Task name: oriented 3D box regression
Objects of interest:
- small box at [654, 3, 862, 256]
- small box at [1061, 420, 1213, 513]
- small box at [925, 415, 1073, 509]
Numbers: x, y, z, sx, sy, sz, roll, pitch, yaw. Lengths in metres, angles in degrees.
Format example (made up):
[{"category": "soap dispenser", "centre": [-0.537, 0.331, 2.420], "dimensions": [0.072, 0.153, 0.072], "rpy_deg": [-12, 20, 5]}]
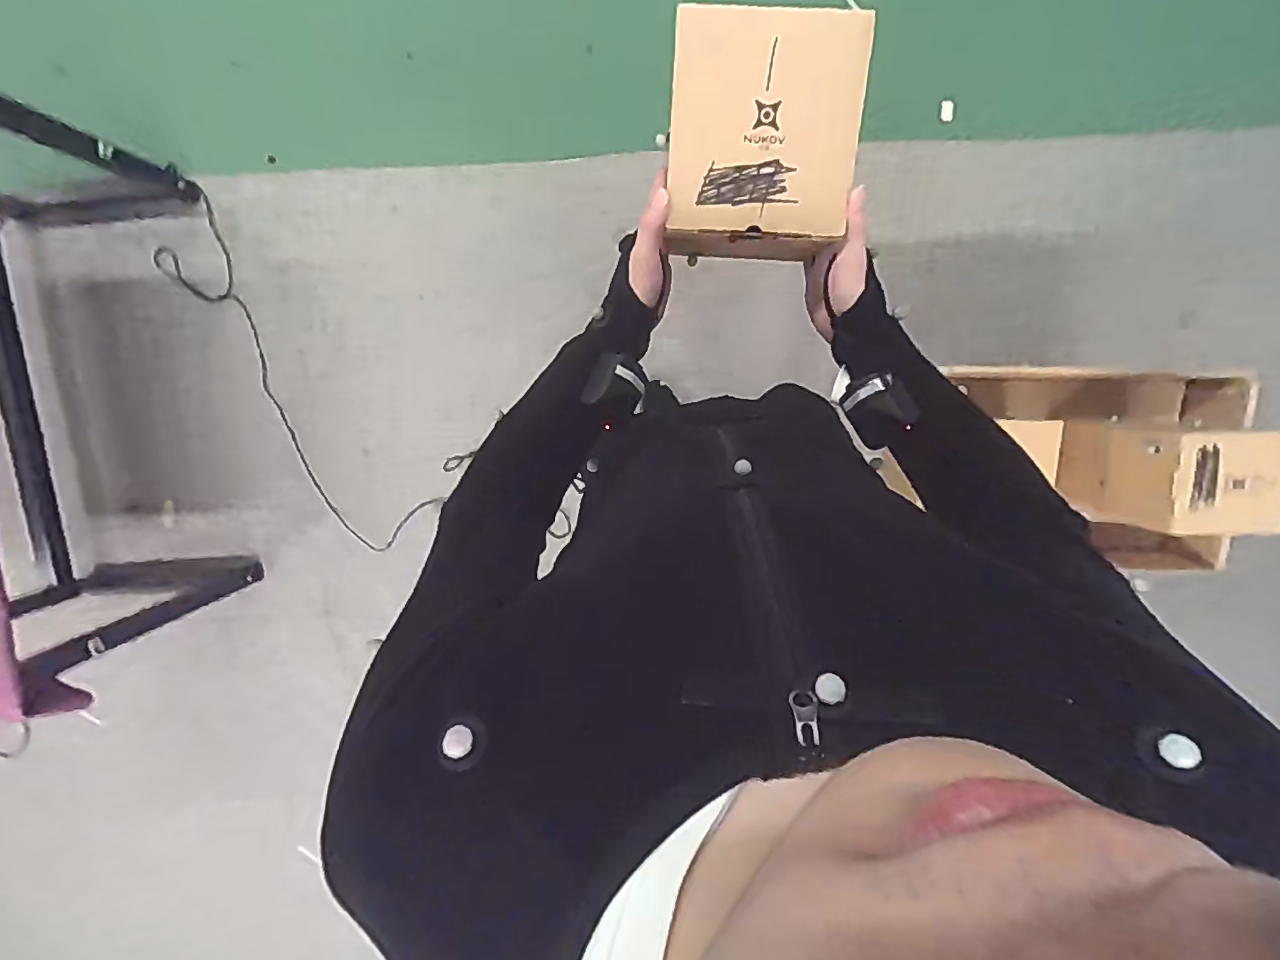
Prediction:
[{"category": "small box", "centre": [0.103, -0.328, 0.543], "dimensions": [0.168, 0.176, 0.179], "rpy_deg": [3, 105, 3]}, {"category": "small box", "centre": [0.962, -0.034, 1.080], "dimensions": [0.179, 0.176, 0.168], "rpy_deg": [1, 99, 4]}, {"category": "small box", "centre": [0.707, -0.042, 1.083], "dimensions": [0.179, 0.176, 0.168], "rpy_deg": [2, 98, 1]}]
